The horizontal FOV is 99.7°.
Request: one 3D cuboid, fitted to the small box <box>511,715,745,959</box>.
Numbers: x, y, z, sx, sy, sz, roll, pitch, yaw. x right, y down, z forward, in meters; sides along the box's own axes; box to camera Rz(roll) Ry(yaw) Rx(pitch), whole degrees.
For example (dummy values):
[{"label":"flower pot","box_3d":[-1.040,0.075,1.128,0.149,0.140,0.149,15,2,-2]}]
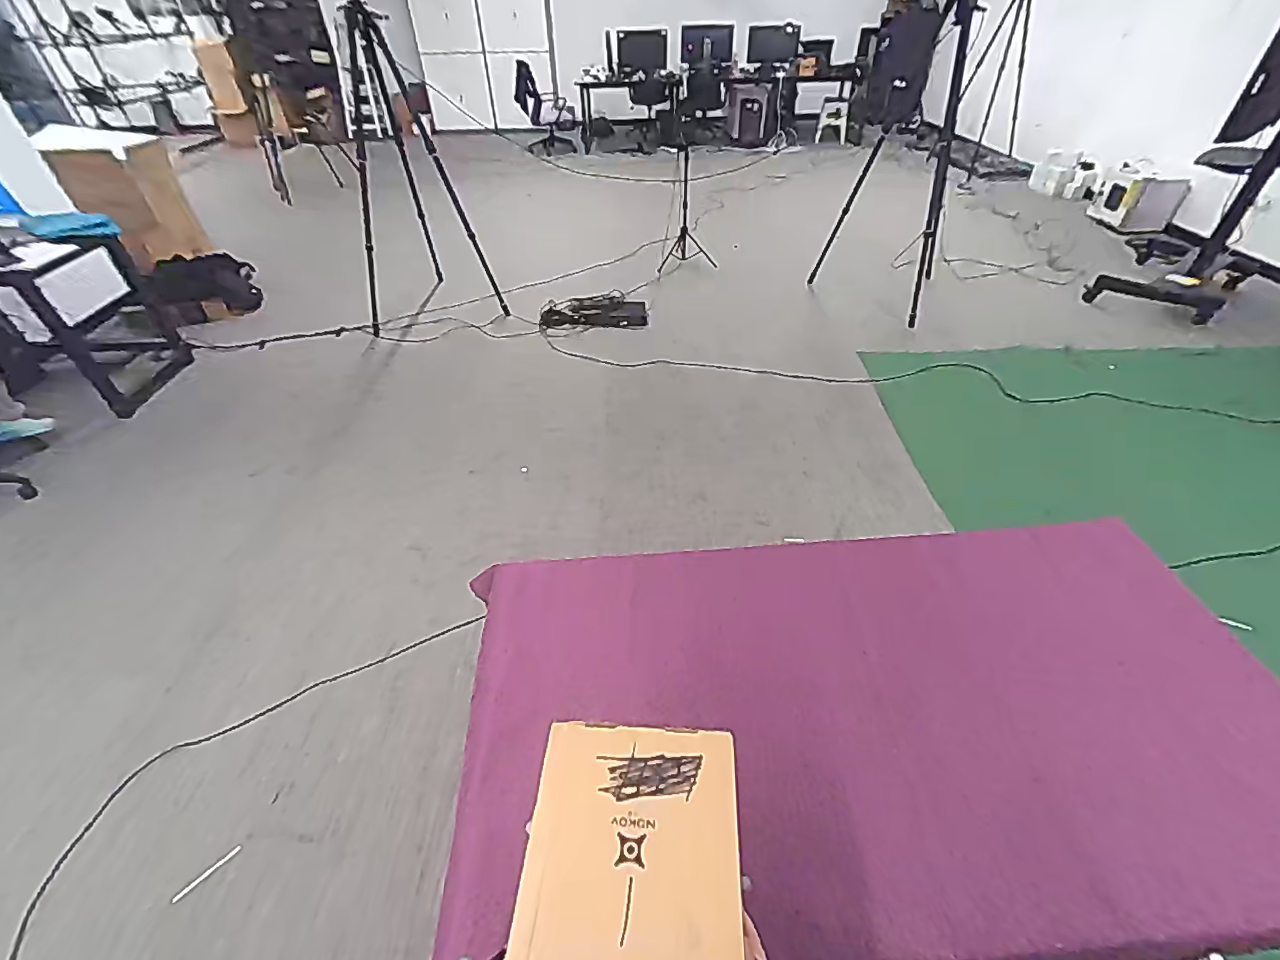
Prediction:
[{"label":"small box","box_3d":[0.000,0.338,0.484,0.168,0.176,0.179,1,42,5]}]
